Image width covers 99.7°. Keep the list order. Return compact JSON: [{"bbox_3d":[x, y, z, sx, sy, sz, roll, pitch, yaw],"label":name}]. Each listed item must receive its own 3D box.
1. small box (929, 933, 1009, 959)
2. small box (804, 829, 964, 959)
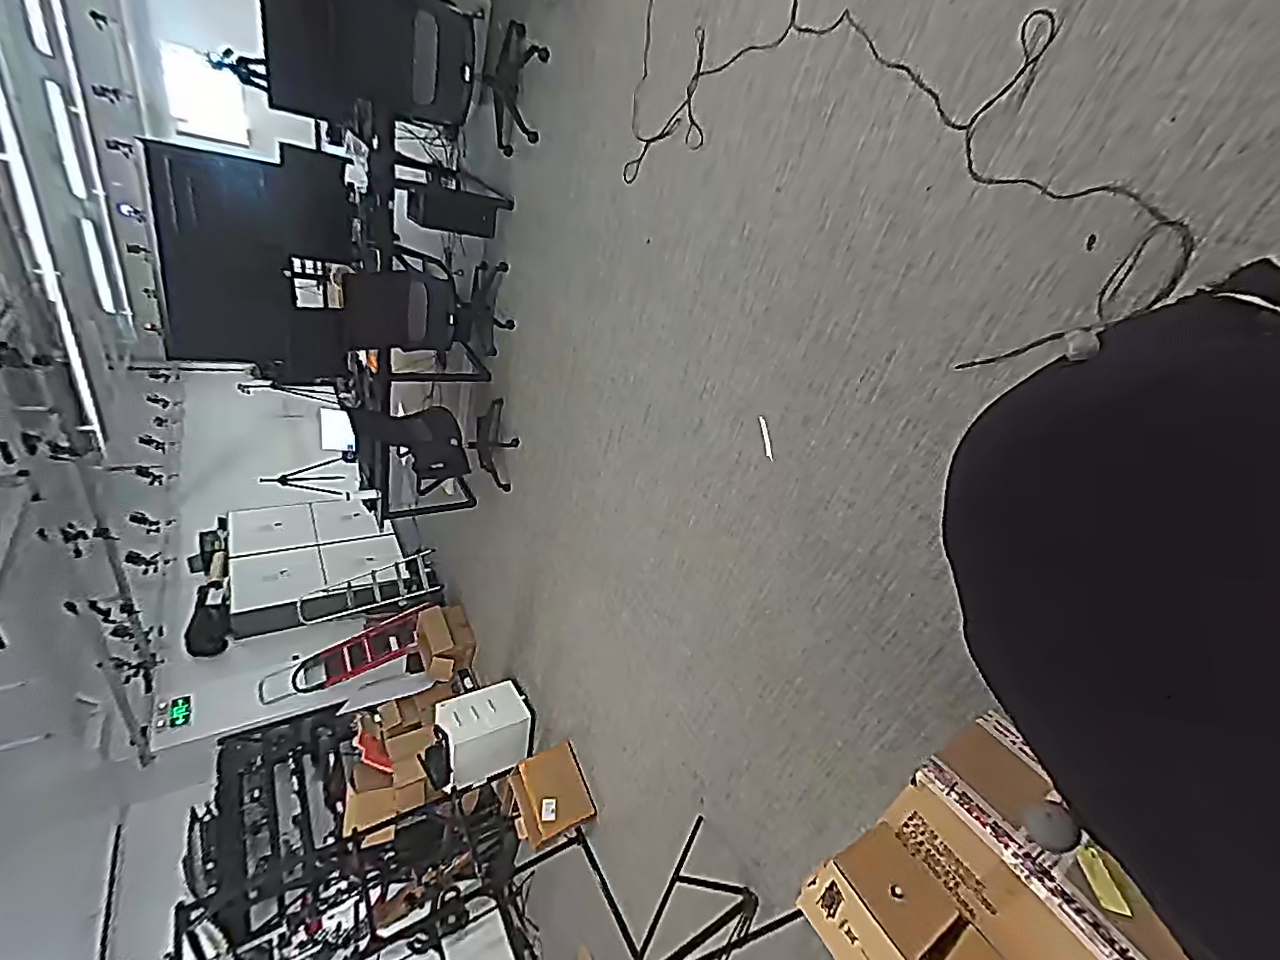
[{"bbox_3d":[0.551,0.894,0.882,0.179,0.176,0.168,45,131,39],"label":"small box"},{"bbox_3d":[0.452,0.794,1.011,0.179,0.176,0.168,47,131,42],"label":"small box"}]
